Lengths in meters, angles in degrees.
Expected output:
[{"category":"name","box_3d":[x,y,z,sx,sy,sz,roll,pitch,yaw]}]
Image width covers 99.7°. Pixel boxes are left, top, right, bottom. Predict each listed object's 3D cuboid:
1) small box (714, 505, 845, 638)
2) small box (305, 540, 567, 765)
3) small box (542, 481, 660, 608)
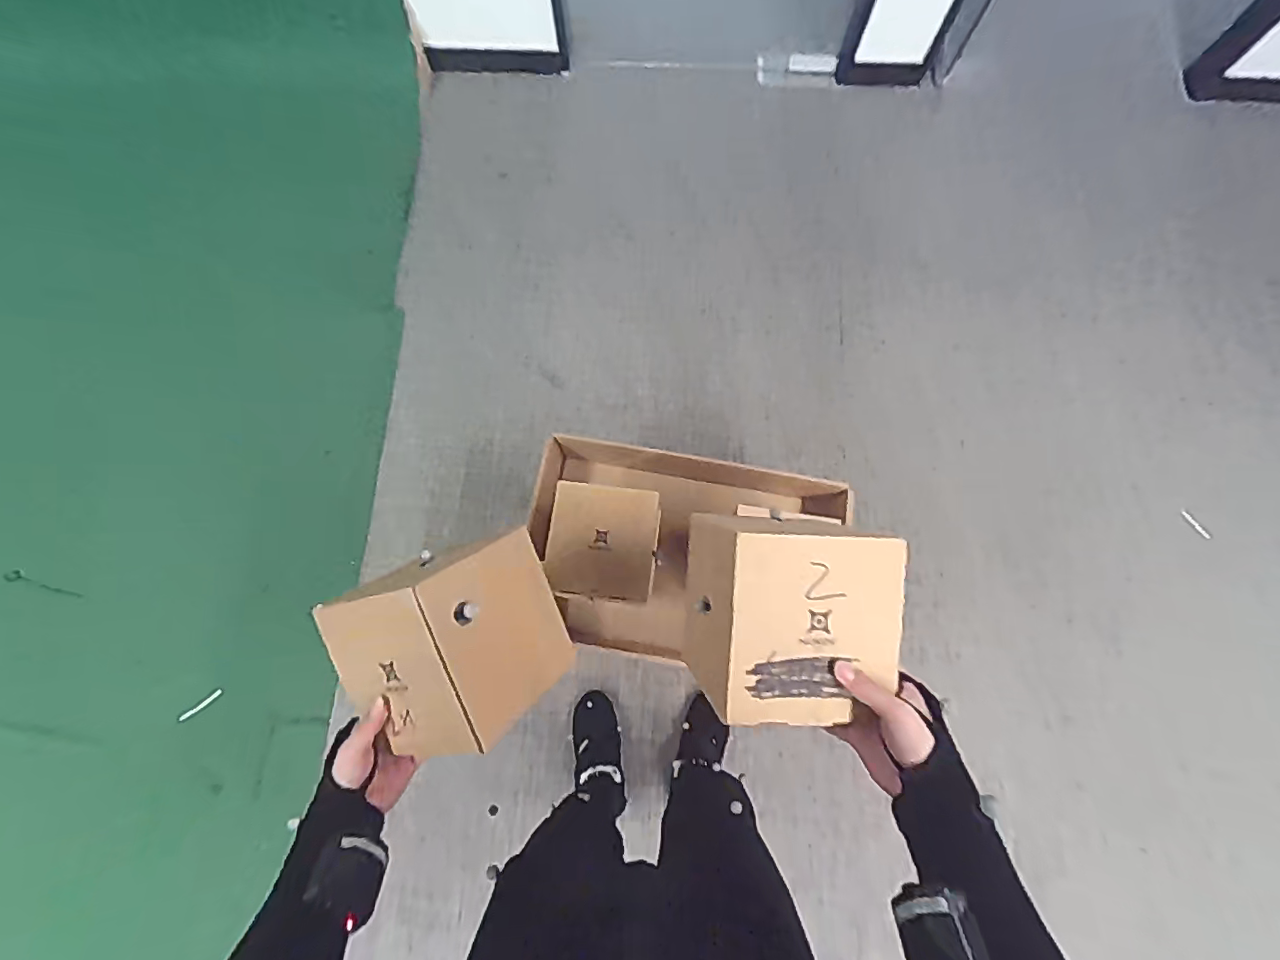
[{"category":"small box","box_3d":[0.221,0.156,0.894,0.168,0.176,0.179,10,75,2]},{"category":"small box","box_3d":[-0.209,0.176,0.587,0.168,0.176,0.179,-16,97,29]},{"category":"small box","box_3d":[-0.060,0.115,0.910,0.168,0.176,0.179,6,75,1]}]
